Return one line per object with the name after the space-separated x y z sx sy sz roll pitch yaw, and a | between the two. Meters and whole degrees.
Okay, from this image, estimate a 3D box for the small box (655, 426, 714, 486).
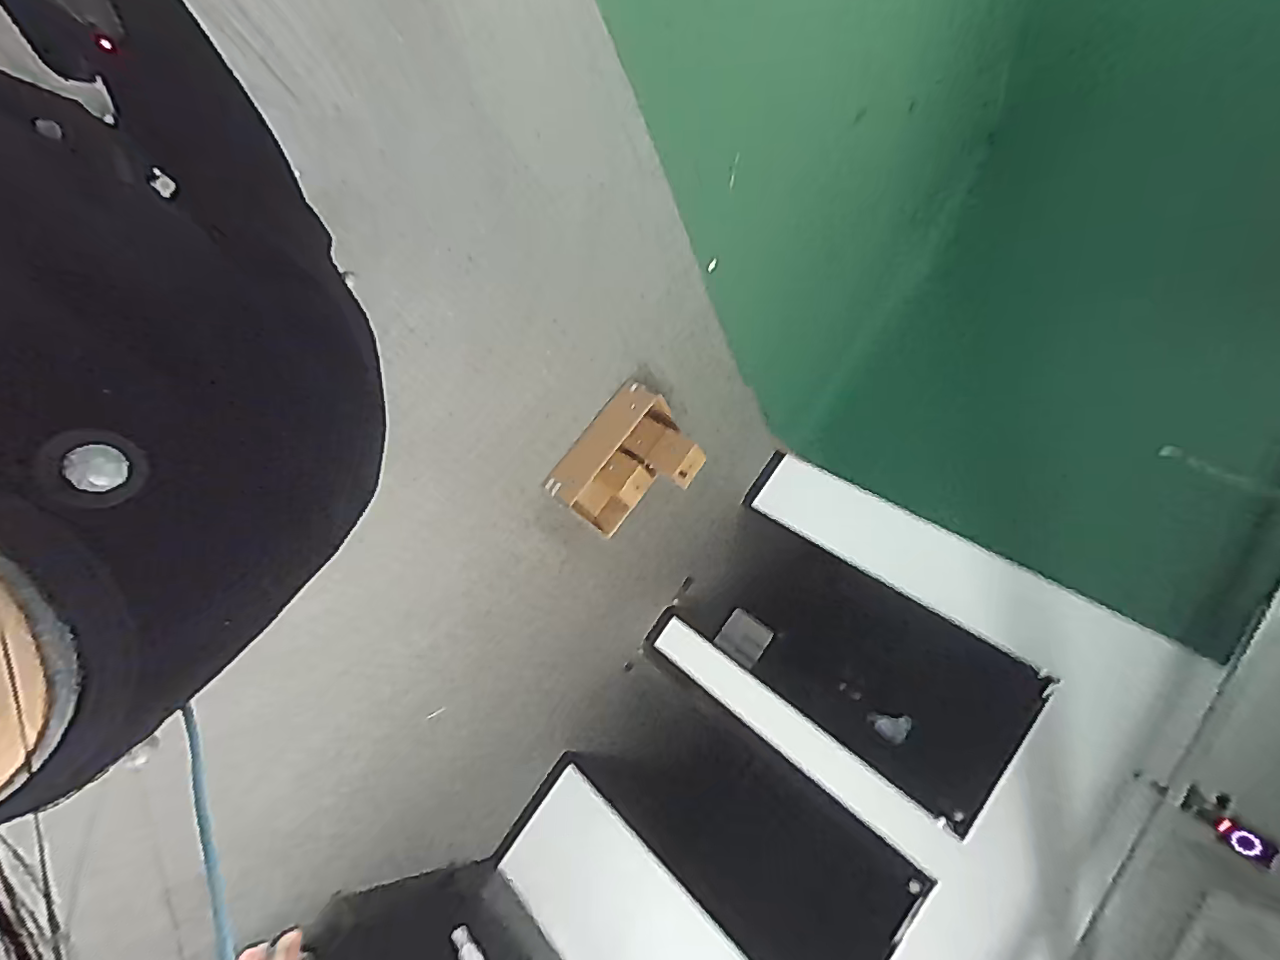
0.189 -0.108 2.378 0.179 0.176 0.168 -55 146 -4 | small box

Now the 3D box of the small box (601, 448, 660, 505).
-0.043 -0.018 2.454 0.168 0.176 0.179 -53 146 -8 | small box
